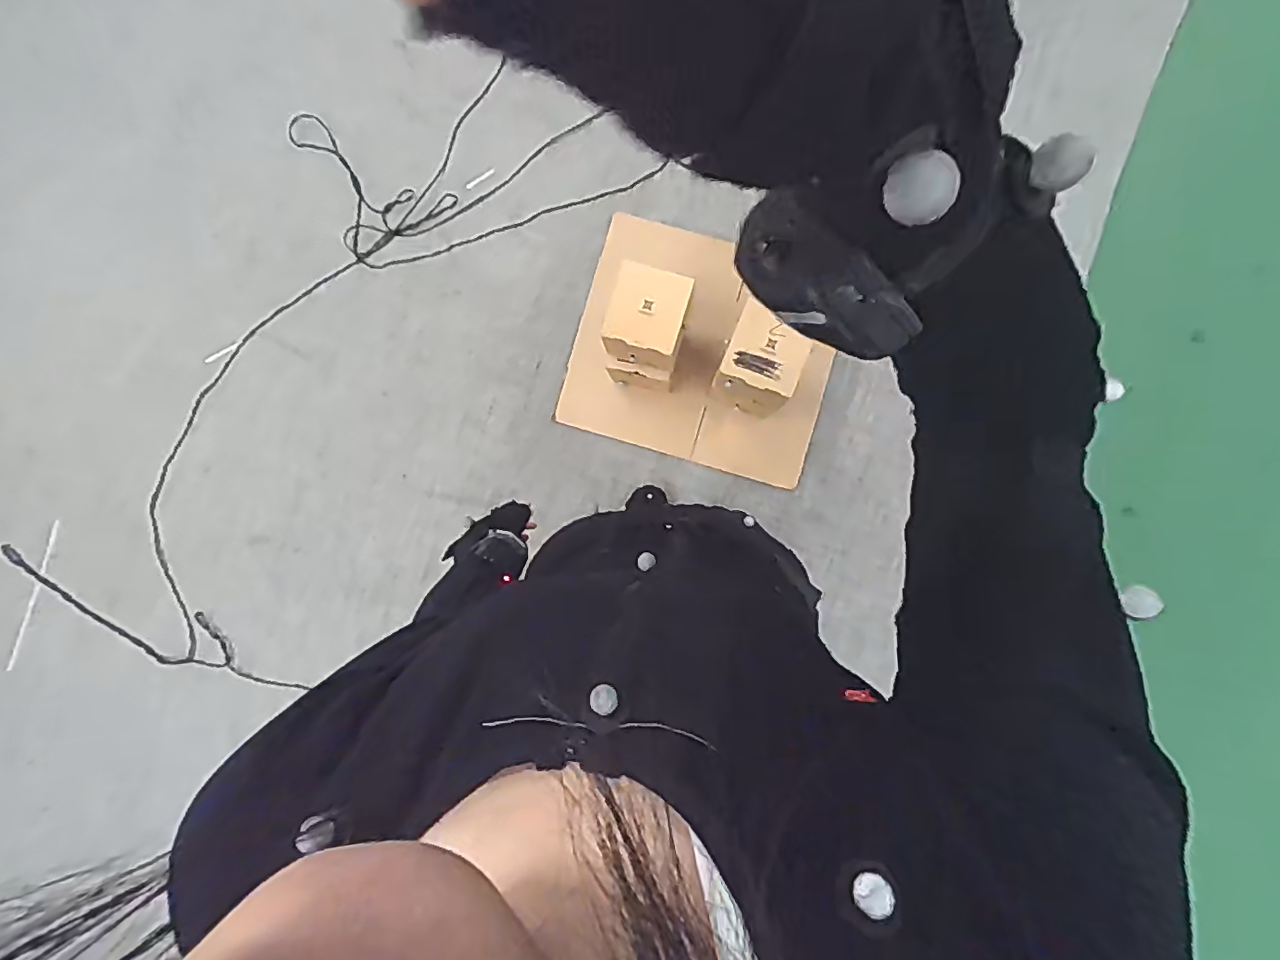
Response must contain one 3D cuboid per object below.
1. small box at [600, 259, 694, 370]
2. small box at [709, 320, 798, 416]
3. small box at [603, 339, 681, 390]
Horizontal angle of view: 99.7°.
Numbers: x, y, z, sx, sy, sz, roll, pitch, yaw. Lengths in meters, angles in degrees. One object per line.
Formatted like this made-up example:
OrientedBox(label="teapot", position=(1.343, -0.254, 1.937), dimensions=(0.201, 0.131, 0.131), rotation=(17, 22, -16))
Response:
OrientedBox(label="small box", position=(0.017, -0.373, 1.245), dimensions=(0.168, 0.176, 0.179), rotation=(17, 90, 3))
OrientedBox(label="small box", position=(0.284, -0.281, 1.396), dimensions=(0.168, 0.176, 0.179), rotation=(21, 91, 4))
OrientedBox(label="small box", position=(0.013, -0.345, 1.408), dimensions=(0.168, 0.176, 0.179), rotation=(14, 90, 3))
